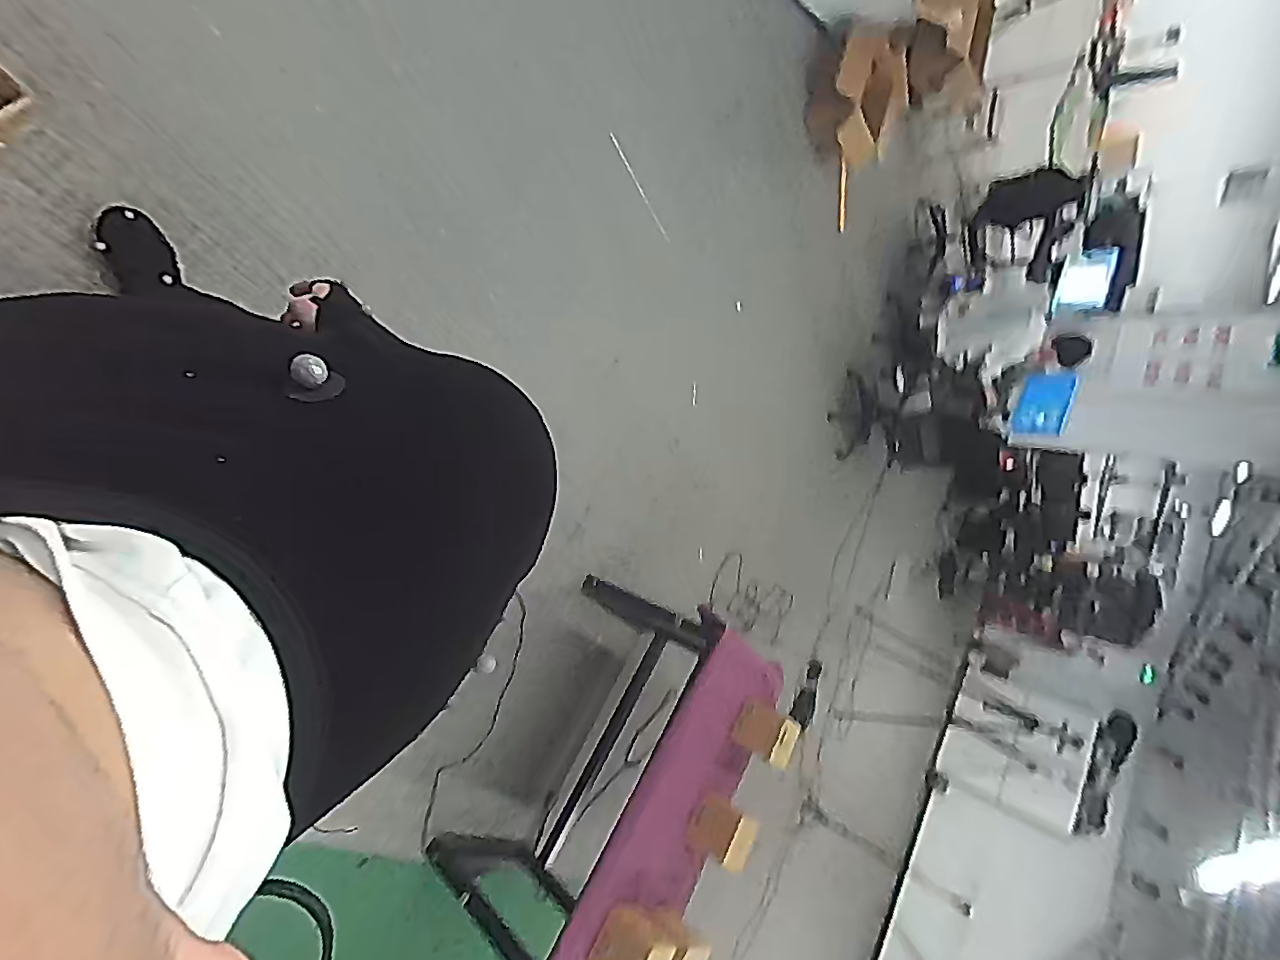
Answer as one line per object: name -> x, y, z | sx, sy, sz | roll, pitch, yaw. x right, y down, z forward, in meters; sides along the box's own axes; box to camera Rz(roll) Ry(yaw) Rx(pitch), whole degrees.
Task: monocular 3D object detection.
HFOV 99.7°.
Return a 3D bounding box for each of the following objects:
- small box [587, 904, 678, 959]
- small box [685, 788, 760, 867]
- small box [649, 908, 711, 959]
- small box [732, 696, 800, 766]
small box -> -0.022, 1.408, 1.611 | 0.168, 0.176, 0.179 | -58, 136, -21
small box -> 0.291, 1.223, 1.909 | 0.168, 0.176, 0.179 | -59, 134, -19
small box -> 0.101, 1.558, 1.787 | 0.179, 0.176, 0.168 | 48, 64, -42
small box -> 0.470, 0.935, 2.023 | 0.168, 0.176, 0.179 | -59, 136, -18
